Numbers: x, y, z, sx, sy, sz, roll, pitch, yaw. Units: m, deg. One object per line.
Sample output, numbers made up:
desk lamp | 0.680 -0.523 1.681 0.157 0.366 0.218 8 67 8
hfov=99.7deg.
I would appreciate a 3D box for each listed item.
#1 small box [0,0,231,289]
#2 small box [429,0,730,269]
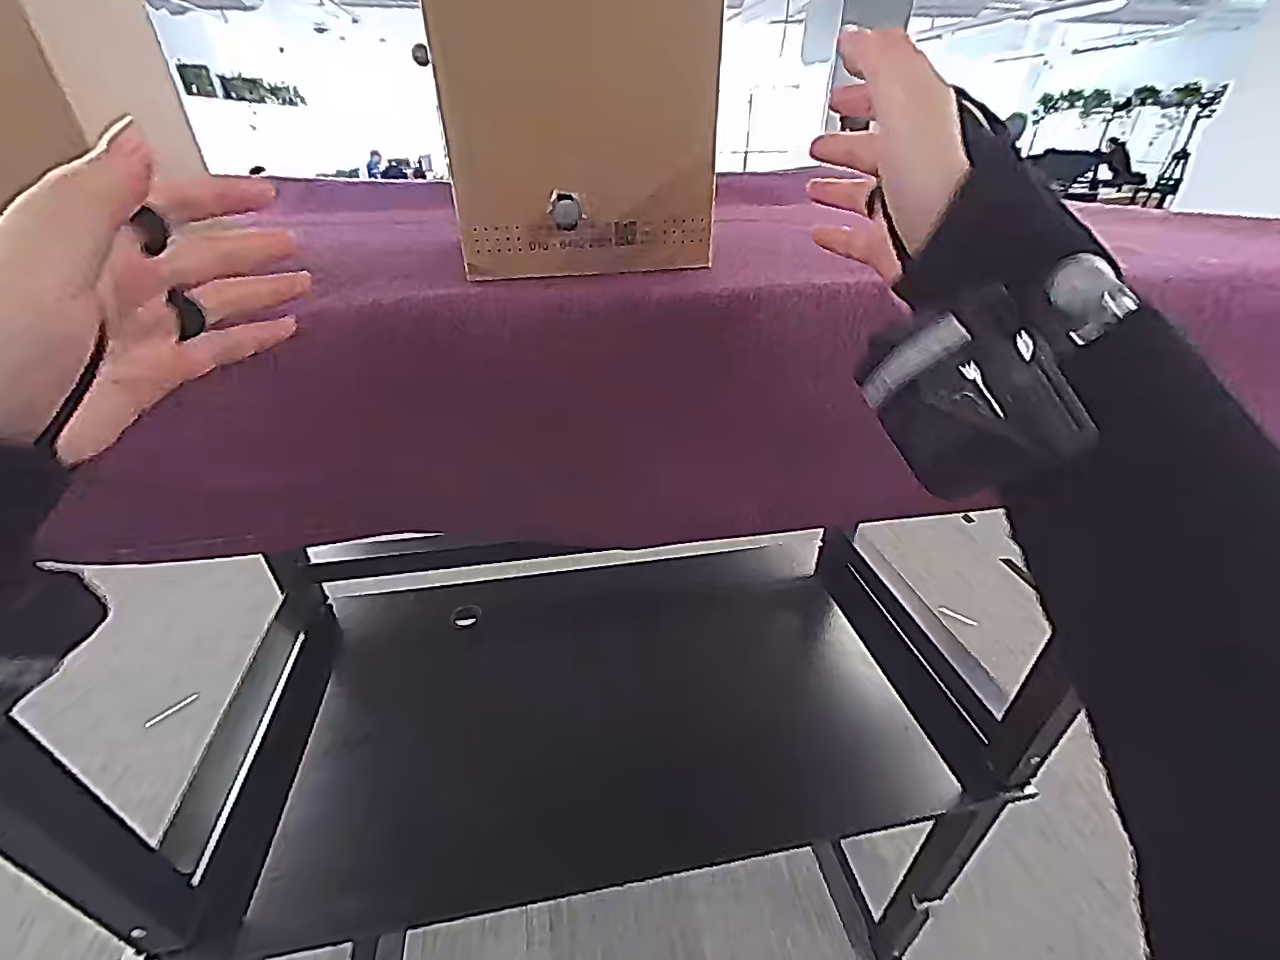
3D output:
small box | -0.388 -0.218 0.327 0.168 0.176 0.179 -10 34 -15
small box | -0.048 -0.253 0.384 0.168 0.176 0.179 -8 34 -11
